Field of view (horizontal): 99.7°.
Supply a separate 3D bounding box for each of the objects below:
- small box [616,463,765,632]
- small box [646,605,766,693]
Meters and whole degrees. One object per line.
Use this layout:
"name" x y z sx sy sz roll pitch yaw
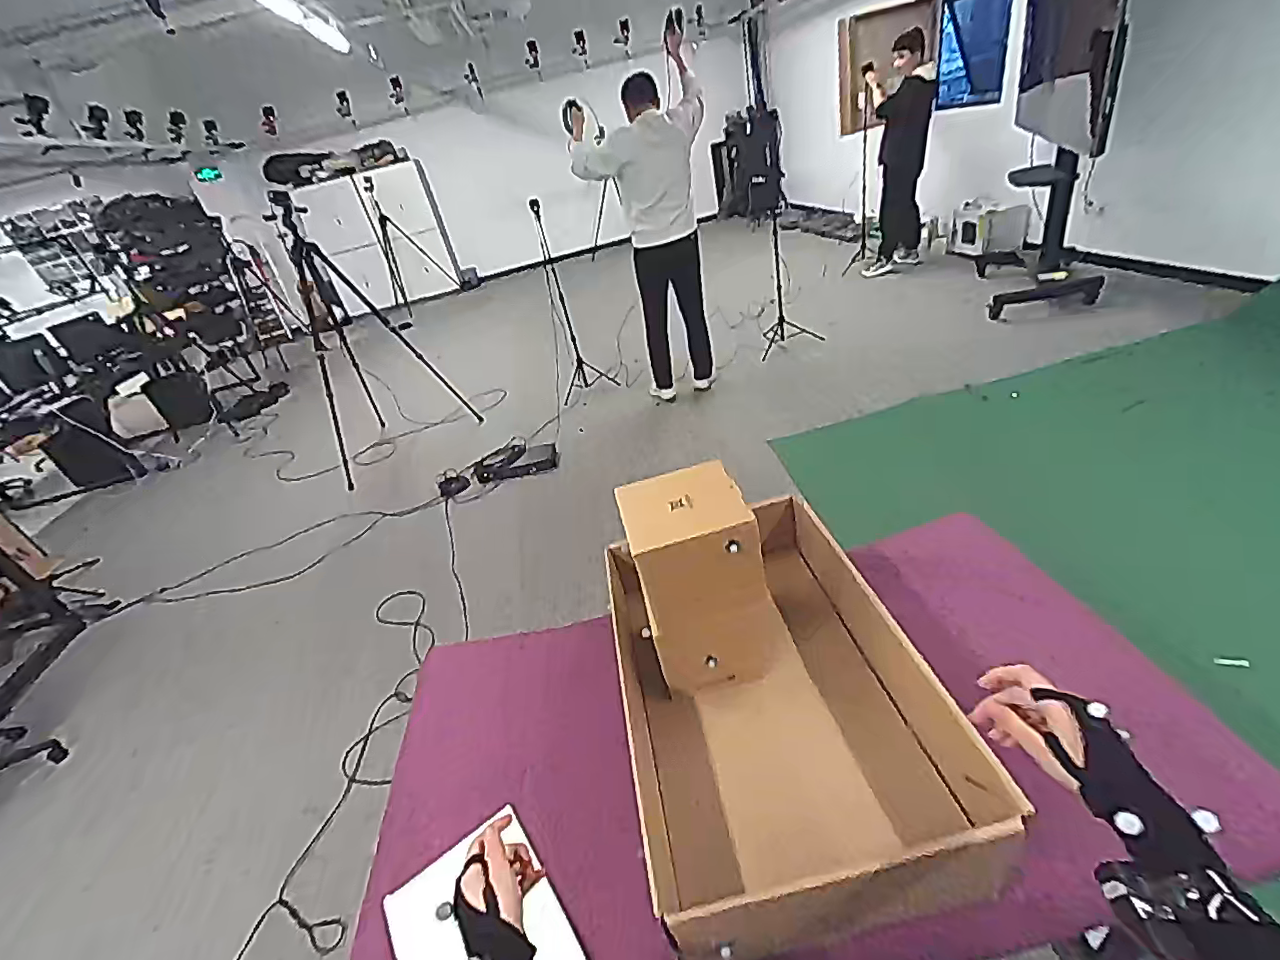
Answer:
"small box" 0.076 0.103 0.821 0.179 0.176 0.168 -16 33 -2
"small box" 0.104 0.234 0.911 0.168 0.176 0.179 -15 33 0
